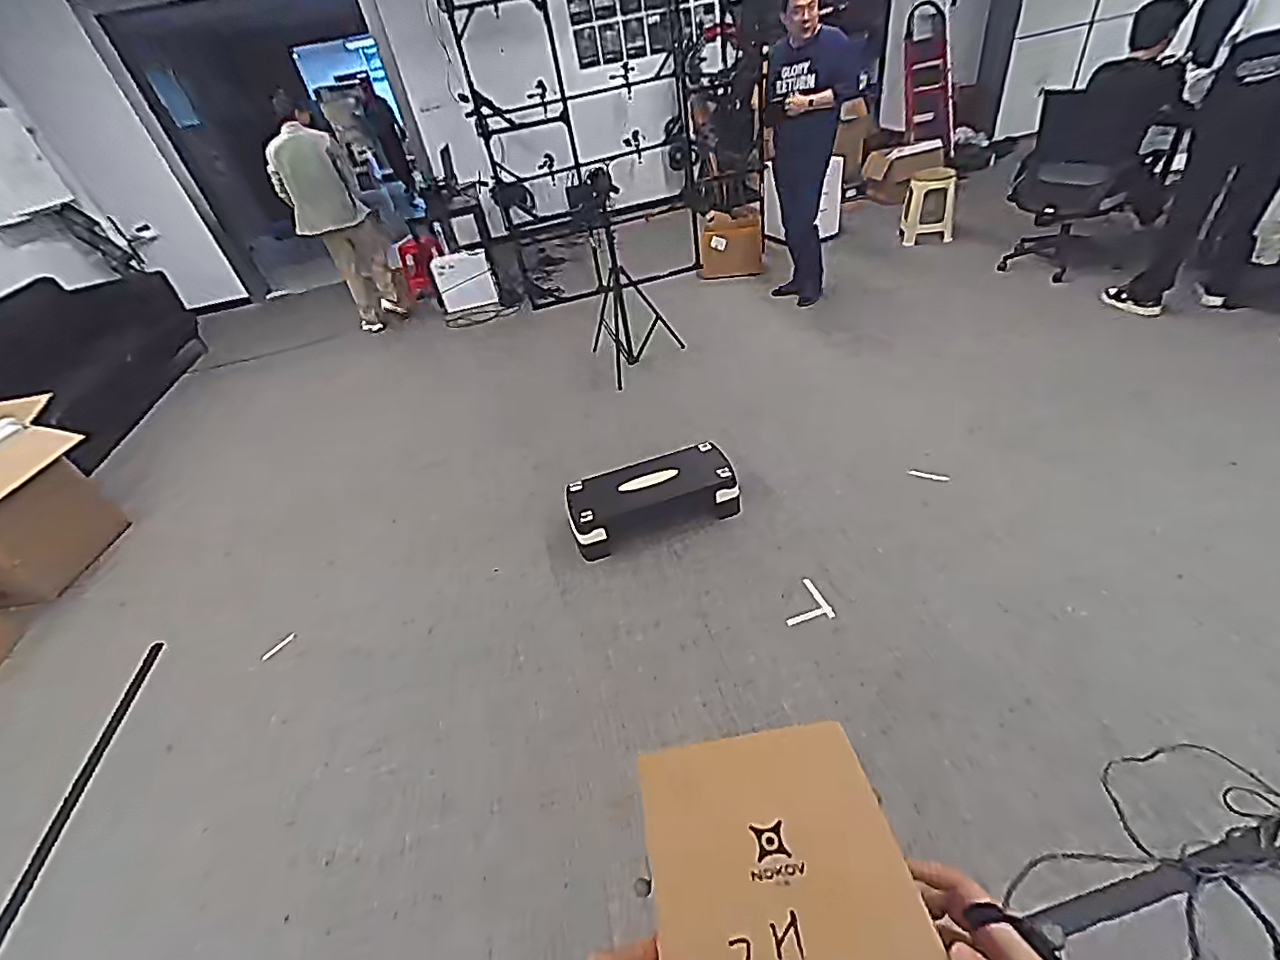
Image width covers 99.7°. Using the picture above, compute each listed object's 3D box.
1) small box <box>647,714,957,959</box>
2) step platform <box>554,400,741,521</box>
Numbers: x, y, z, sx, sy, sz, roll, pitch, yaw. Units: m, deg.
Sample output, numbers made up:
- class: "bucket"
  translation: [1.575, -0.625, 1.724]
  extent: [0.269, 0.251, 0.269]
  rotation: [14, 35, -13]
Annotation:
- class: "small box"
  translation: [0.100, 0.311, 0.402]
  extent: [0.168, 0.176, 0.179]
  rotation: [-9, 32, -1]
- class: "step platform"
  translation: [0.032, -0.078, 2.051]
  extent: [0.684, 0.204, 0.286]
  rotation: [-17, 38, -7]
